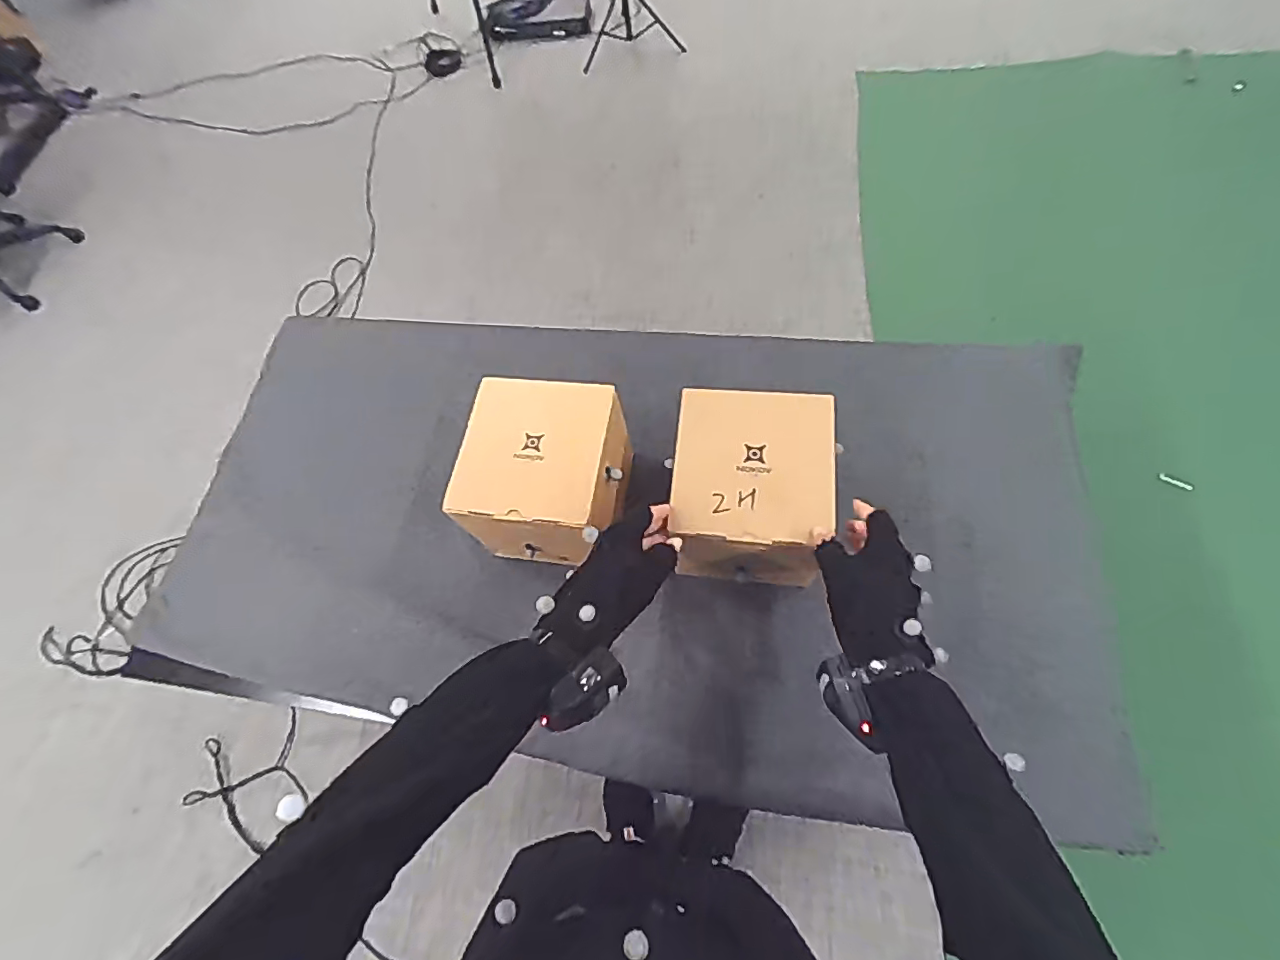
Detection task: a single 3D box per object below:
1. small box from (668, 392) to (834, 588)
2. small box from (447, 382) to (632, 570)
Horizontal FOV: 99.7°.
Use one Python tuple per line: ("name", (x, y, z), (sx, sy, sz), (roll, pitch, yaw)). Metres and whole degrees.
("small box", (0.129, 0.017, 0.640), (0.168, 0.176, 0.179), (4, 67, 10))
("small box", (-0.110, 0.000, 0.681), (0.168, 0.176, 0.179), (5, 67, 11))
